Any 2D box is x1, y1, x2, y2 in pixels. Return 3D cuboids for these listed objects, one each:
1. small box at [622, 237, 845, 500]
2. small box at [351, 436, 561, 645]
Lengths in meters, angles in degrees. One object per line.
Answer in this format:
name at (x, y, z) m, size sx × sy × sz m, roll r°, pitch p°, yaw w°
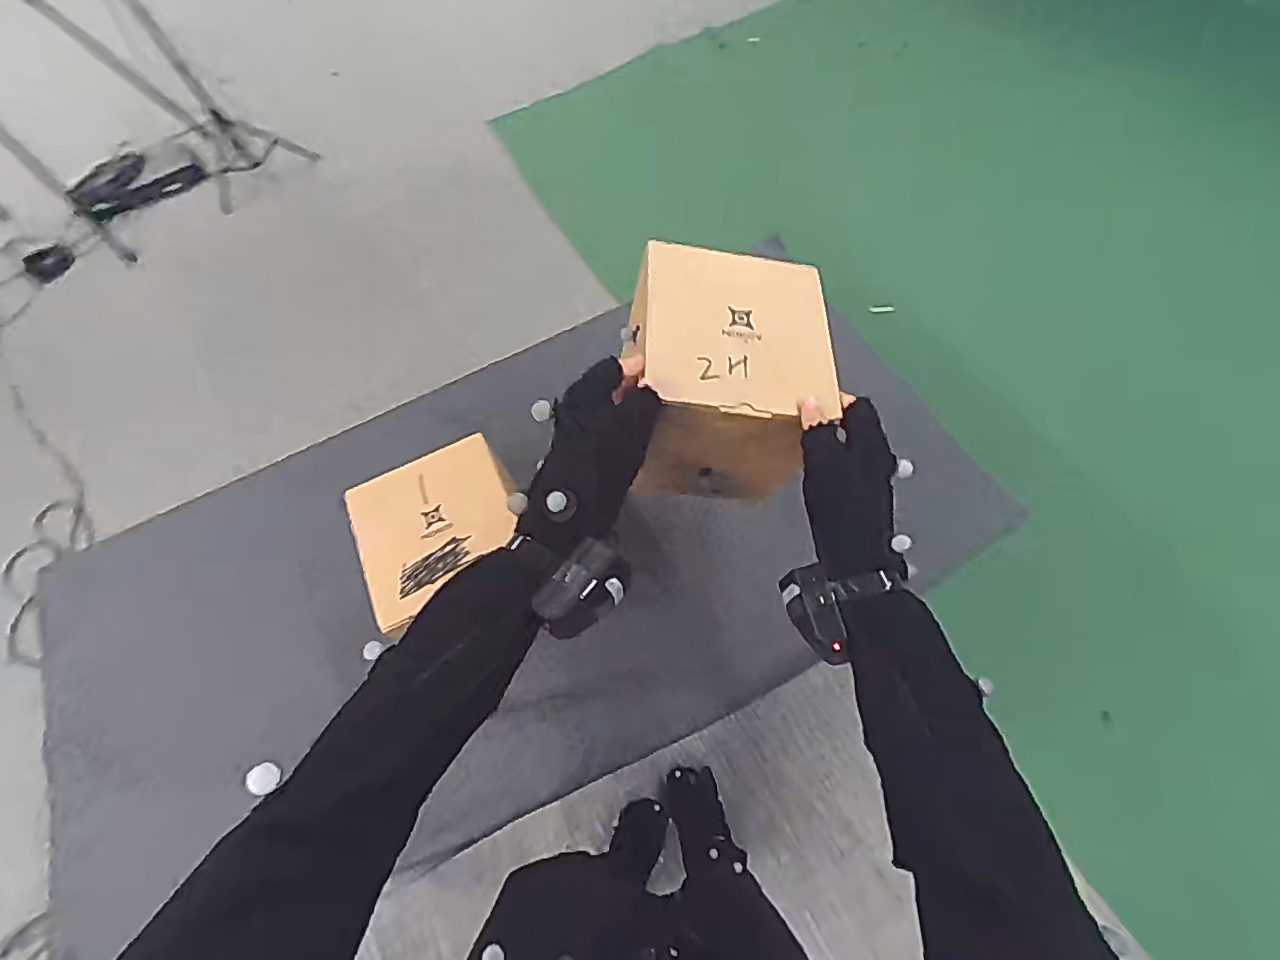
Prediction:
small box at (0.076, -0.098, 0.530) m, size 0.168 × 0.176 × 0.179 m, roll 6°, pitch 65°, yaw -7°
small box at (-0.211, 0.084, 0.656) m, size 0.168 × 0.176 × 0.179 m, roll -26°, pitch 64°, yaw -7°
